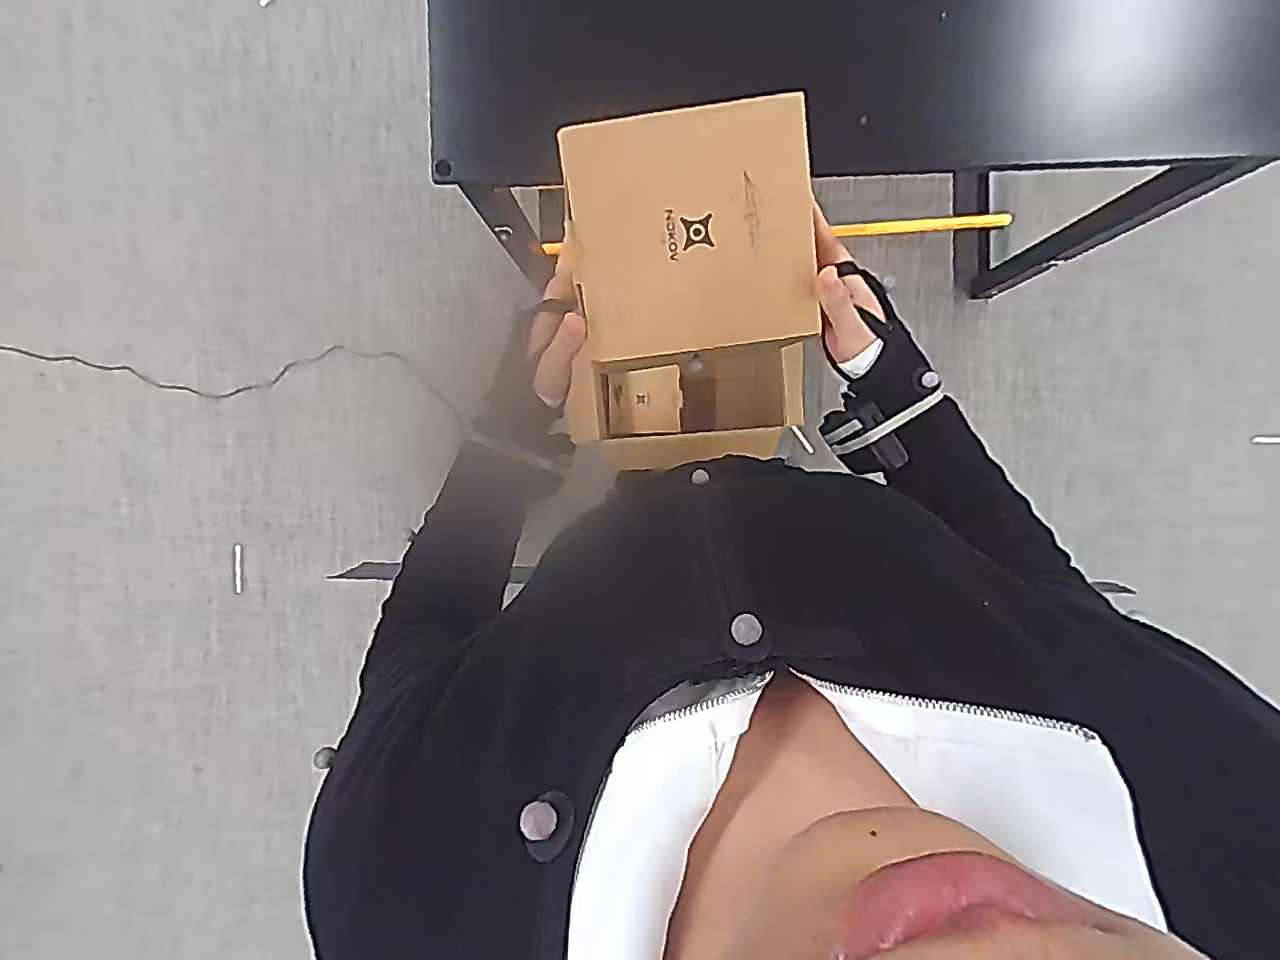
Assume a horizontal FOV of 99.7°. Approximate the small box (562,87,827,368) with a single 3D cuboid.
[{"bbox_3d":[0.041,-0.190,0.461,0.179,0.176,0.168,-7,99,1],"label":"small box"}]
